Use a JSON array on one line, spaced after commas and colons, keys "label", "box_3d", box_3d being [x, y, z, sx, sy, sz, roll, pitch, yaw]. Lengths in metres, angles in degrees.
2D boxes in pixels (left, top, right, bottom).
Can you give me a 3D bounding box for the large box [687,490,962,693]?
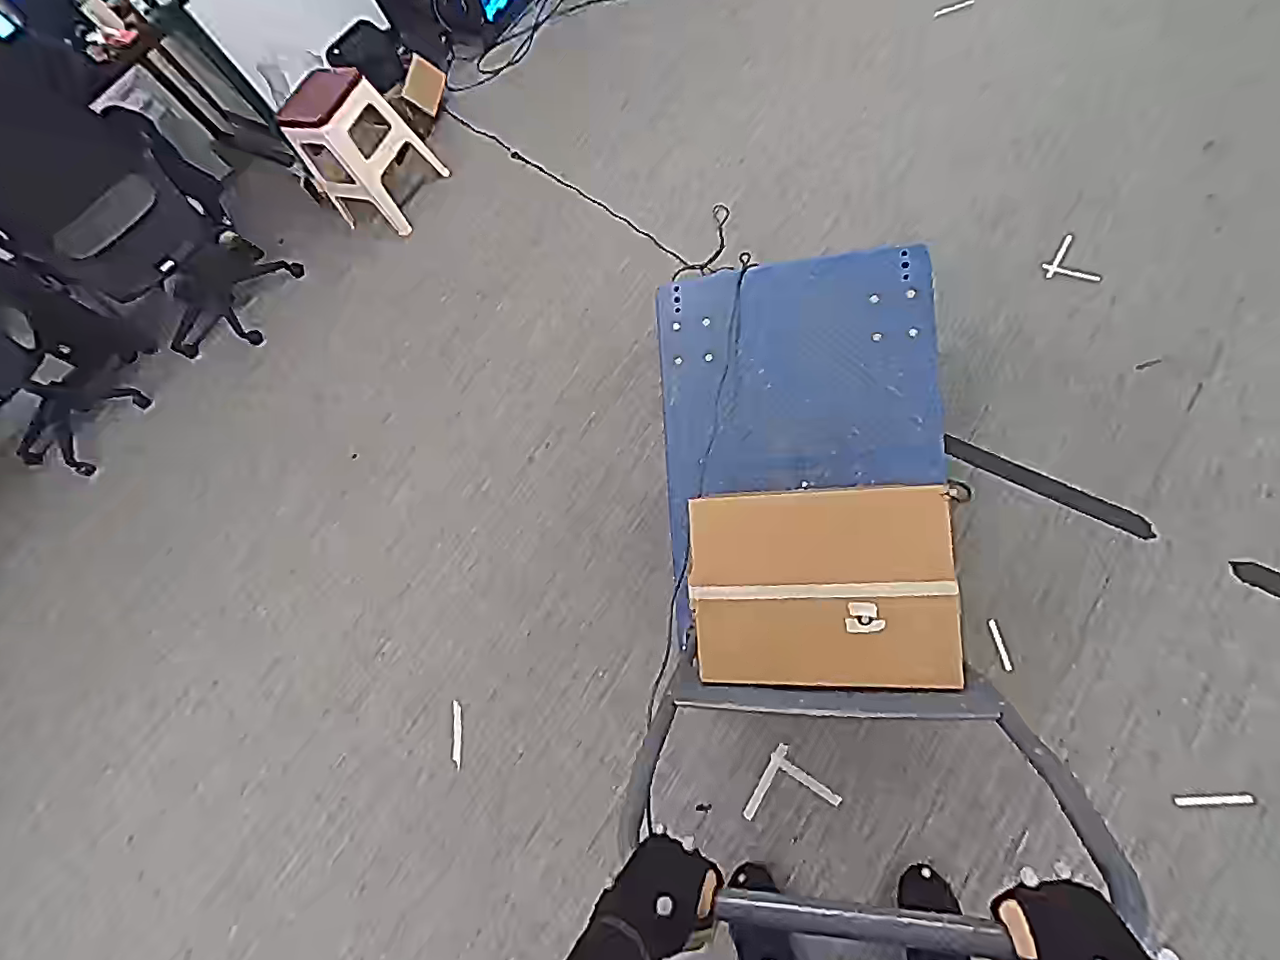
[{"label": "large box", "box_3d": [0.314, 0.185, 1.005, 0.408, 0.320, 0.320, -4, 89, 13]}]
